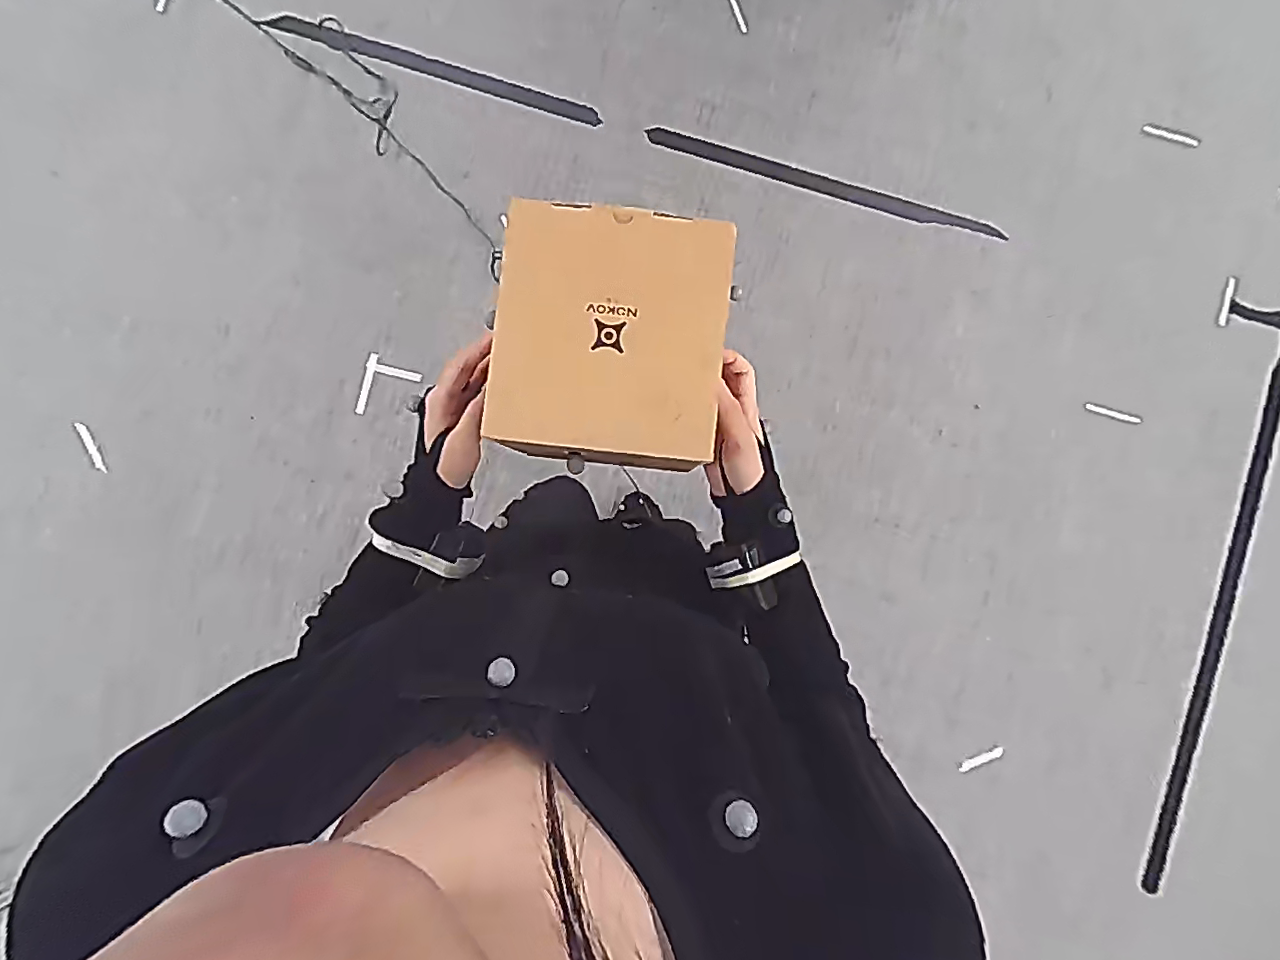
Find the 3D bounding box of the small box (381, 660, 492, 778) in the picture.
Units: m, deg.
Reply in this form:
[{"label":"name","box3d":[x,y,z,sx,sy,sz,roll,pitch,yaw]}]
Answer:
[{"label":"small box","box3d":[-0.453,0.534,1.235,0.168,0.176,0.179,16,89,1]}]

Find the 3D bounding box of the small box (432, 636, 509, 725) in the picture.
[{"label":"small box","box3d":[-0.454,0.528,1.400,0.168,0.176,0.179,19,88,0]}]

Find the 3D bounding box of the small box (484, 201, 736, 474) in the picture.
[{"label":"small box","box3d":[-0.021,-0.101,0.461,0.168,0.176,0.179,6,86,-1]}]
